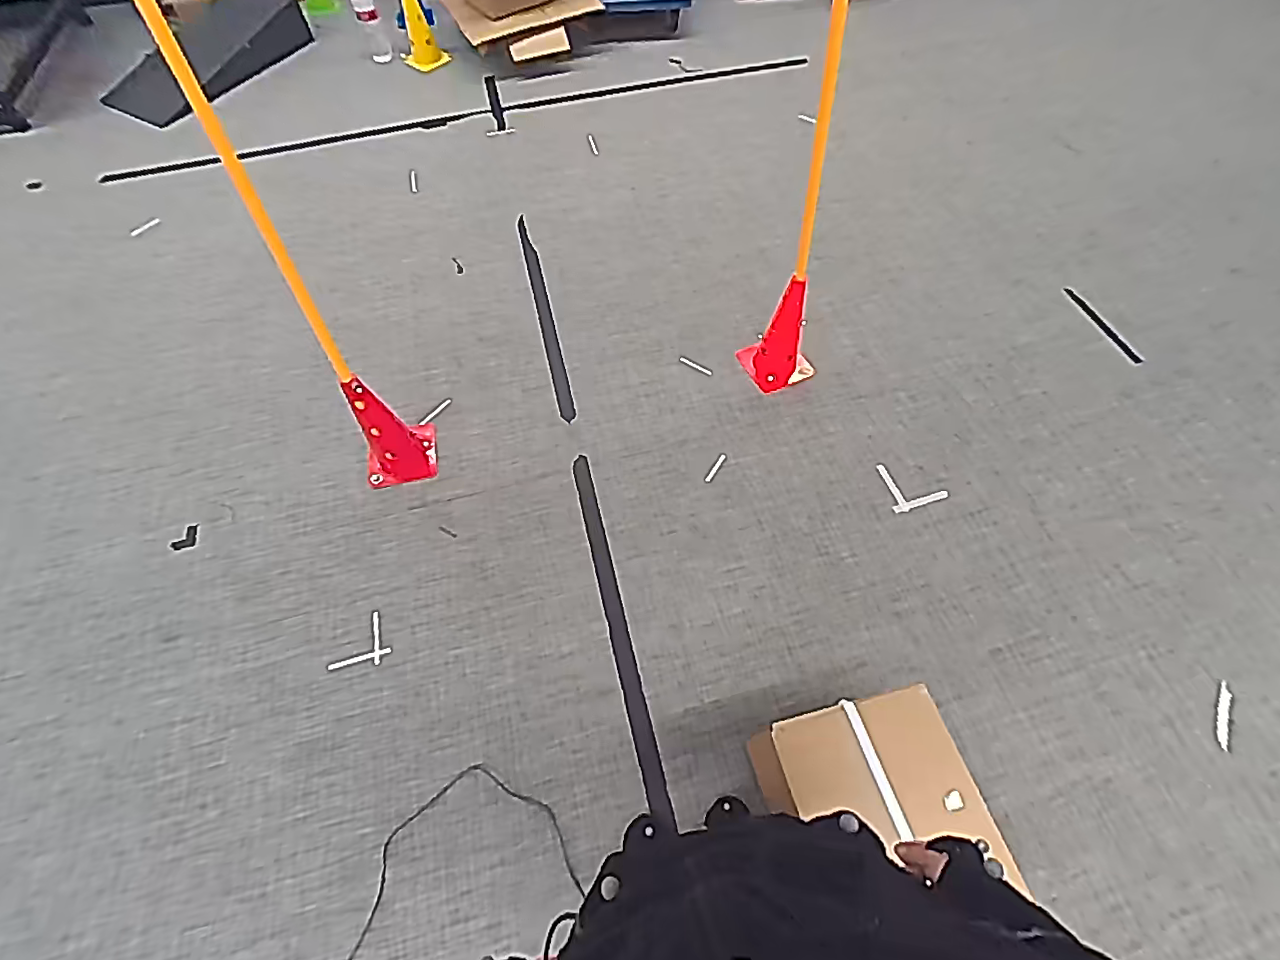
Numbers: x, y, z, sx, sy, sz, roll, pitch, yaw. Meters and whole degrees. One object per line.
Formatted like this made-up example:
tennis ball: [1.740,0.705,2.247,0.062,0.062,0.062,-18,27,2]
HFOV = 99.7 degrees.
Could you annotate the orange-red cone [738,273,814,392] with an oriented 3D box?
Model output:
orange-red cone: [0.444,-0.466,1.621,0.199,0.360,0.198,-21,63,-12]
